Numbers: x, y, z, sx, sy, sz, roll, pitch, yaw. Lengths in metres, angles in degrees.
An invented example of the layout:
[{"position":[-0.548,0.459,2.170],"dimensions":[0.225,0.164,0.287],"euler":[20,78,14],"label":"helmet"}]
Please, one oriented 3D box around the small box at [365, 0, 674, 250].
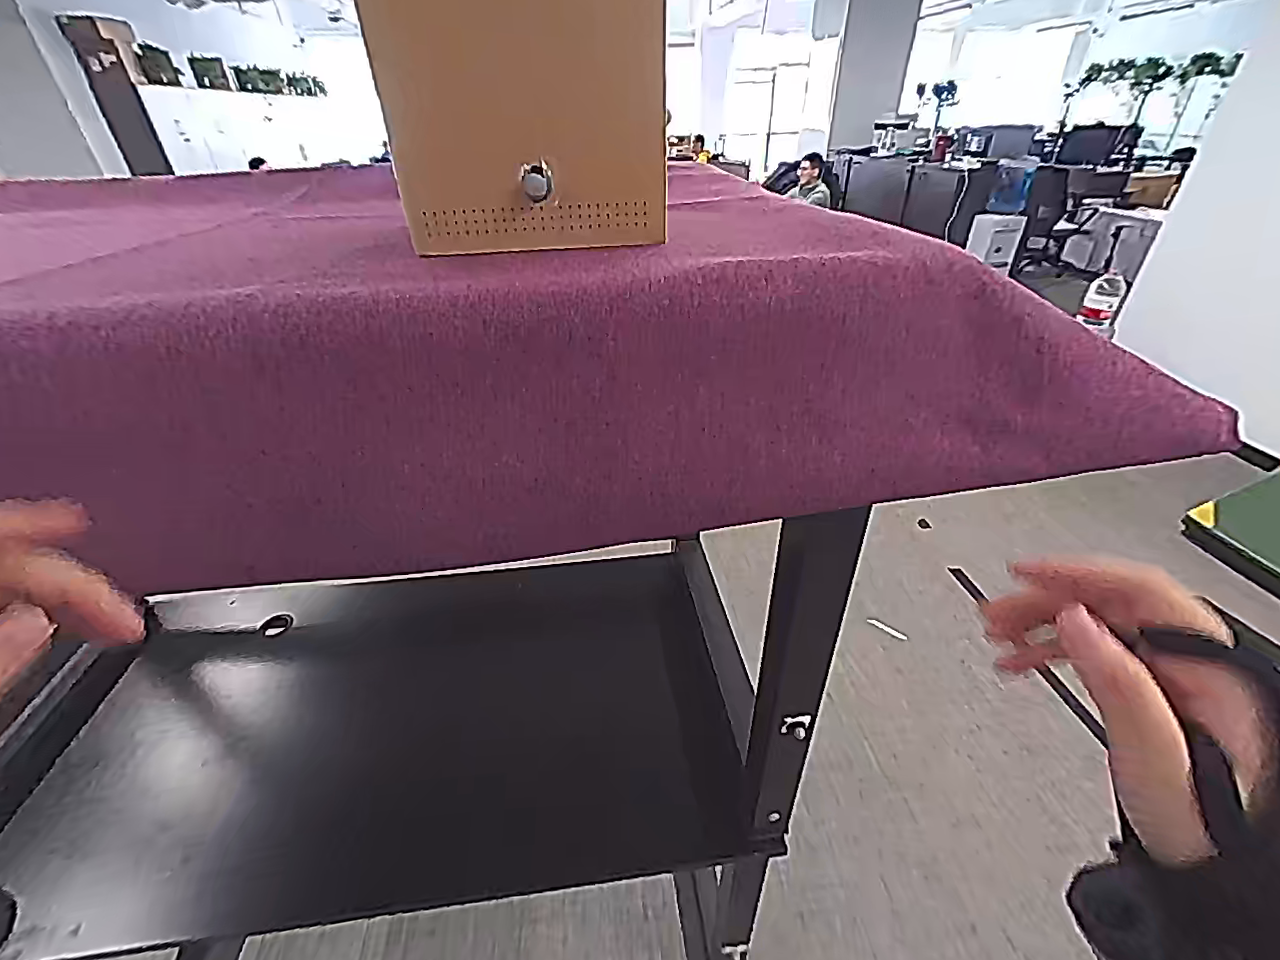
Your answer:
[{"position":[-0.074,-0.274,0.395],"dimensions":[0.179,0.176,0.168],"euler":[-5,33,-5],"label":"small box"}]
